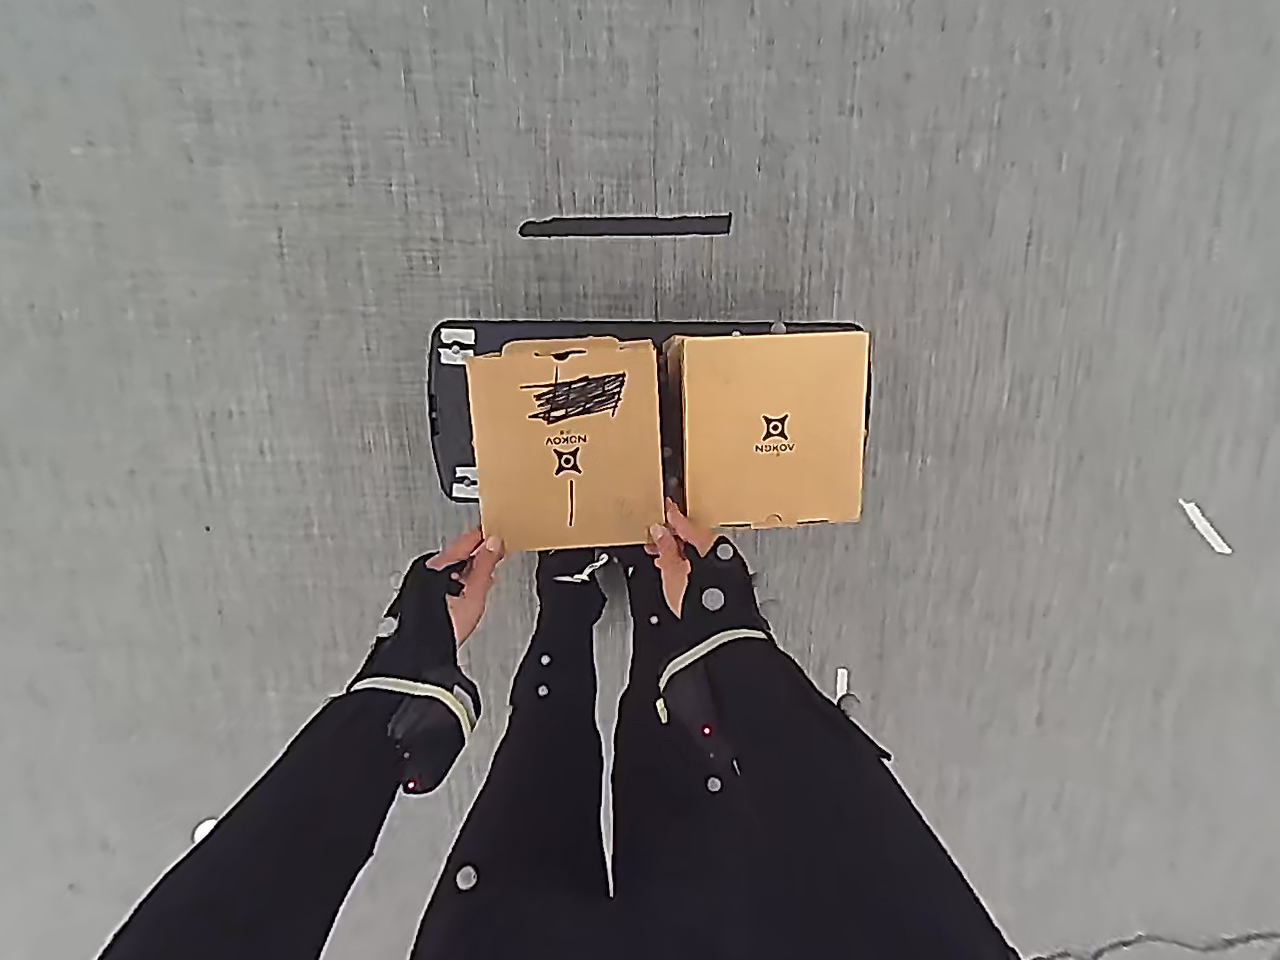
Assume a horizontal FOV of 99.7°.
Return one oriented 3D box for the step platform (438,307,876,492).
[{"bbox_3d":[0.026,-0.131,0.900,0.684,0.204,0.286,0,100,-1],"label":"step platform"}]
